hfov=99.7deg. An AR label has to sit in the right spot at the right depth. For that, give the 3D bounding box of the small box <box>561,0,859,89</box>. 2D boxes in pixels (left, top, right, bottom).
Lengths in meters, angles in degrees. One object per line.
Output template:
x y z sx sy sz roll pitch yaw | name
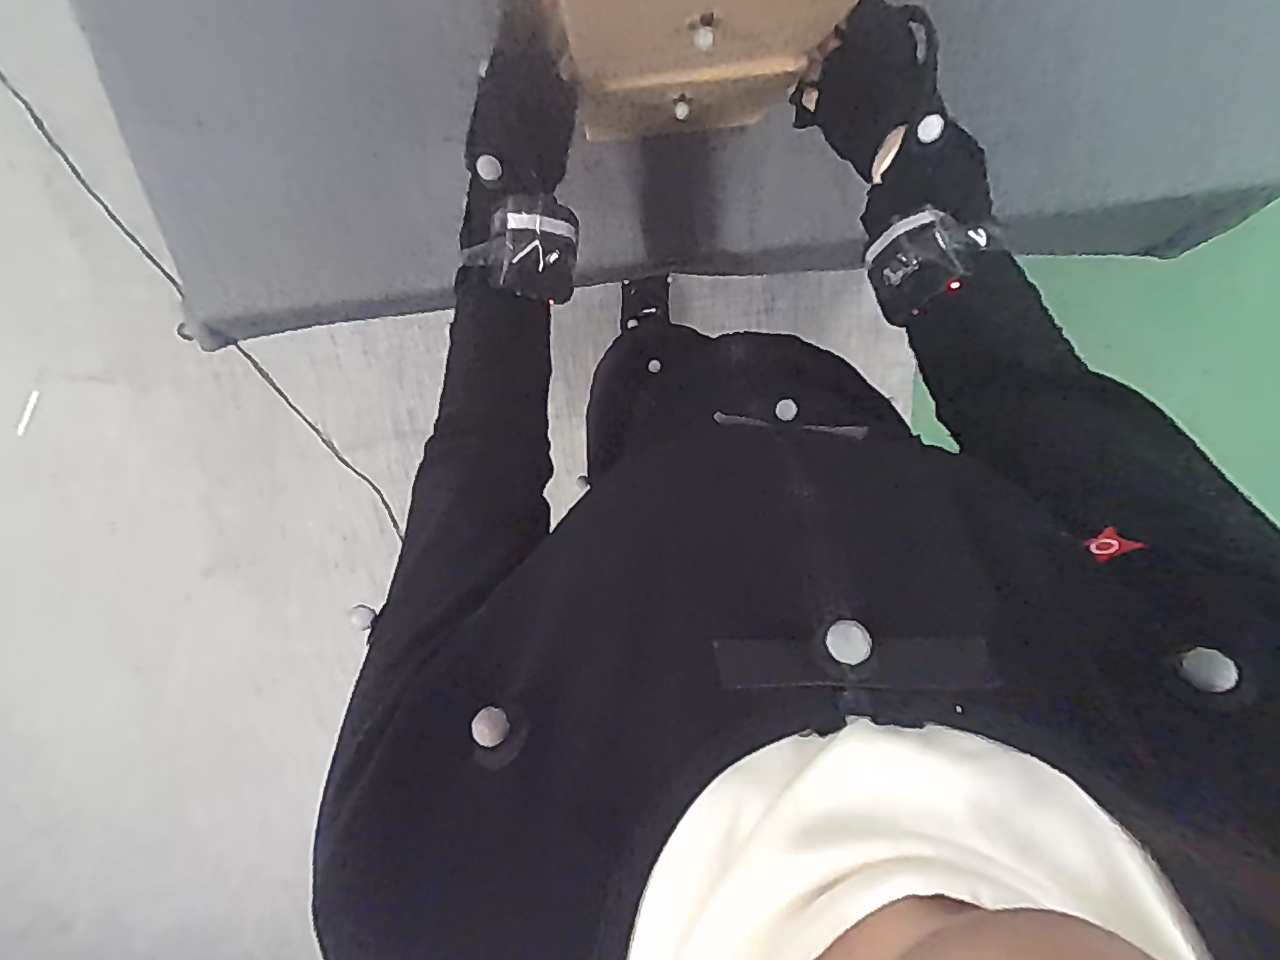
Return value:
0.035 -0.345 0.299 0.179 0.176 0.168 -7 112 2 | small box

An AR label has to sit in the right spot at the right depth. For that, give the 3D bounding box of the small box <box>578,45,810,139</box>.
0.030 -0.403 0.454 0.179 0.176 0.168 -8 113 -1 | small box
